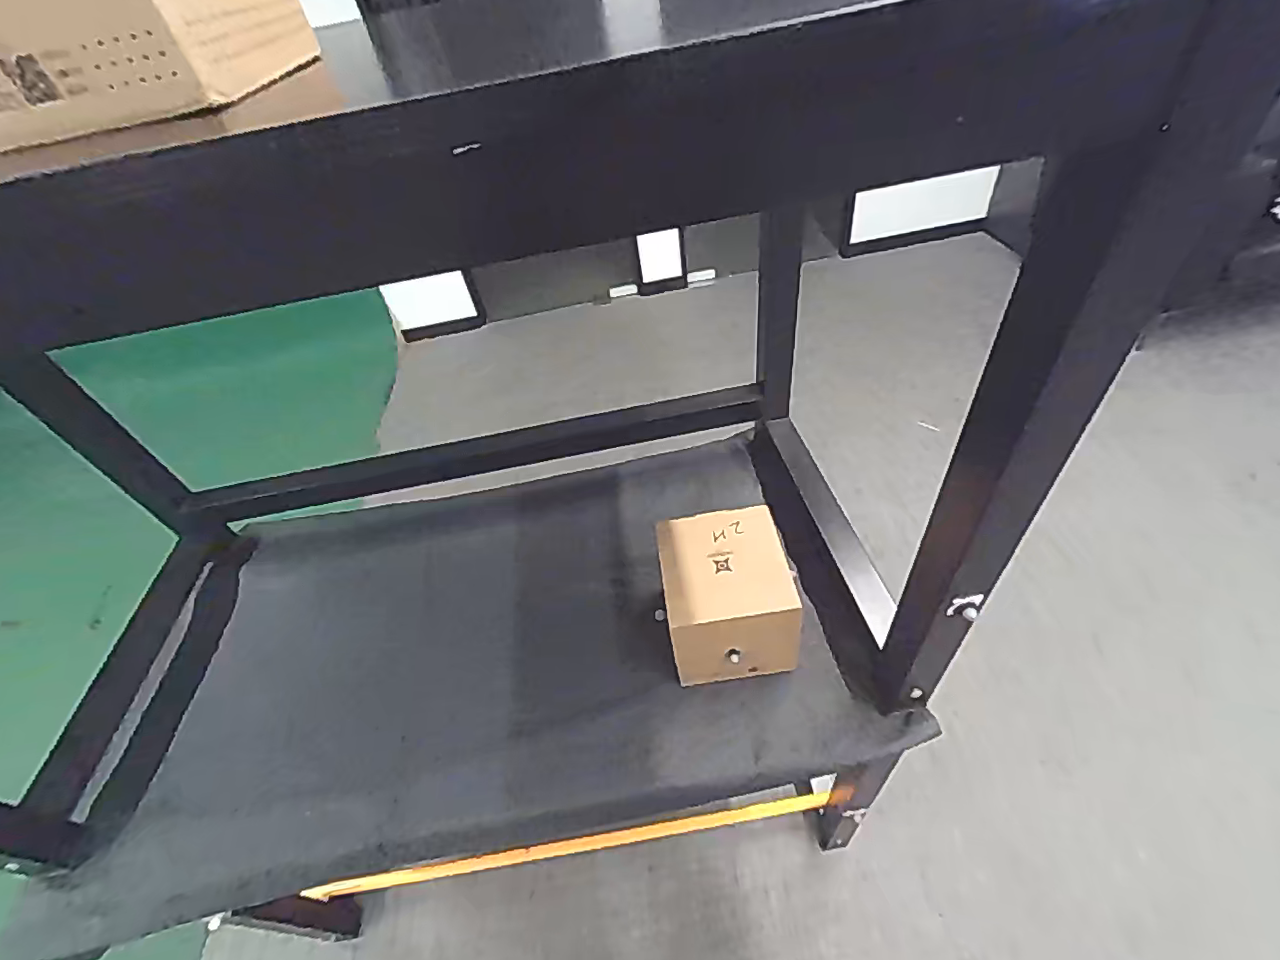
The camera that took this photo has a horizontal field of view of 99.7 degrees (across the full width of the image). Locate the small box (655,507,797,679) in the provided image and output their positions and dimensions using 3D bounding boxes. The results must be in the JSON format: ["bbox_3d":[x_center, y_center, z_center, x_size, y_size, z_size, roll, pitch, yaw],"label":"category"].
[{"bbox_3d":[0.119,0.168,0.775,0.168,0.176,0.179,-9,44,3],"label":"small box"}]
